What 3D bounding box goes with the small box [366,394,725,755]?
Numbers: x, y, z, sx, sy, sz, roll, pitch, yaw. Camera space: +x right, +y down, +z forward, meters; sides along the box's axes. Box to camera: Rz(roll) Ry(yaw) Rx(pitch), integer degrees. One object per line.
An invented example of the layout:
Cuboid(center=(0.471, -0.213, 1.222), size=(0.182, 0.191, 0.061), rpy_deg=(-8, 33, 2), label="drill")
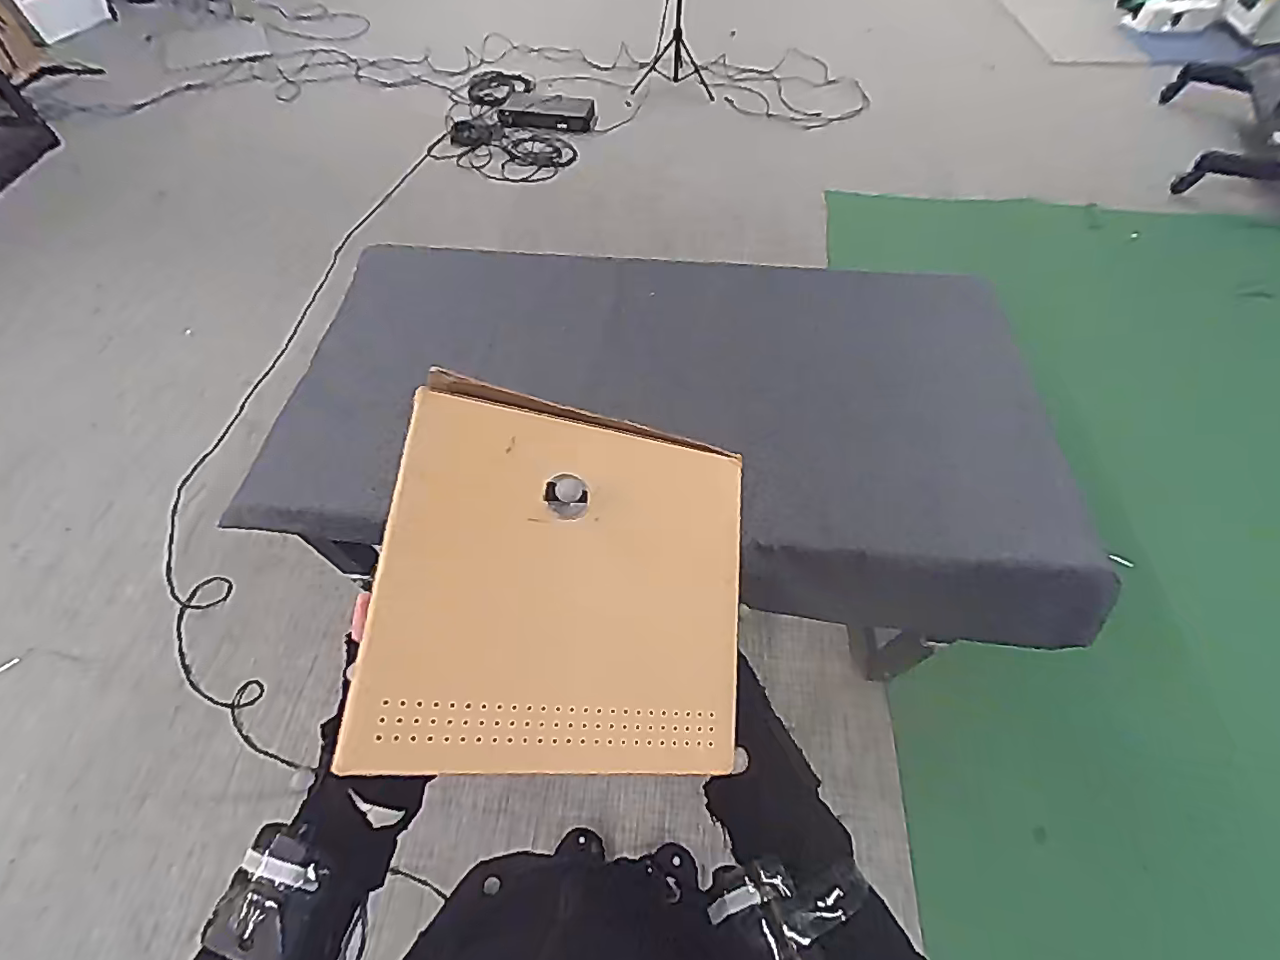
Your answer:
Cuboid(center=(-0.059, 0.070, 0.345), size=(0.179, 0.168, 0.176), rpy_deg=(11, 71, -18), label="small box")
